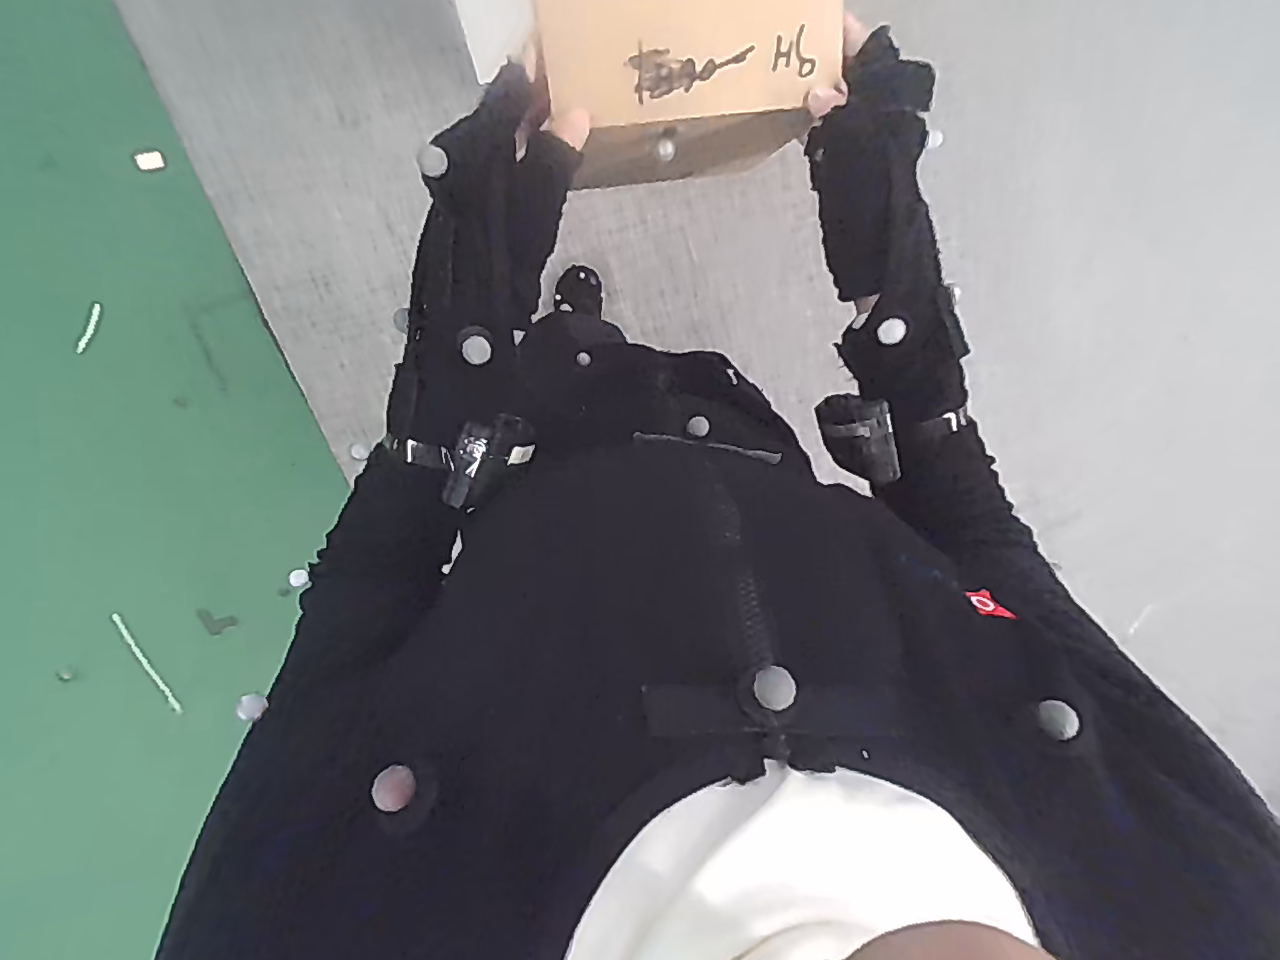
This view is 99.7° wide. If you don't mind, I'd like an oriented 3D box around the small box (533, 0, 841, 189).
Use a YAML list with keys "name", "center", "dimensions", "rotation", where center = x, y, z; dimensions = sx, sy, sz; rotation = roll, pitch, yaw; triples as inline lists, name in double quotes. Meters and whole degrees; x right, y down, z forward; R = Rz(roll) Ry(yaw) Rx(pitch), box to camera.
- name: "small box"
  center: [0.015, -0.310, 0.353]
  dimensions: [0.168, 0.176, 0.179]
  rotation: [-8, 110, -4]
